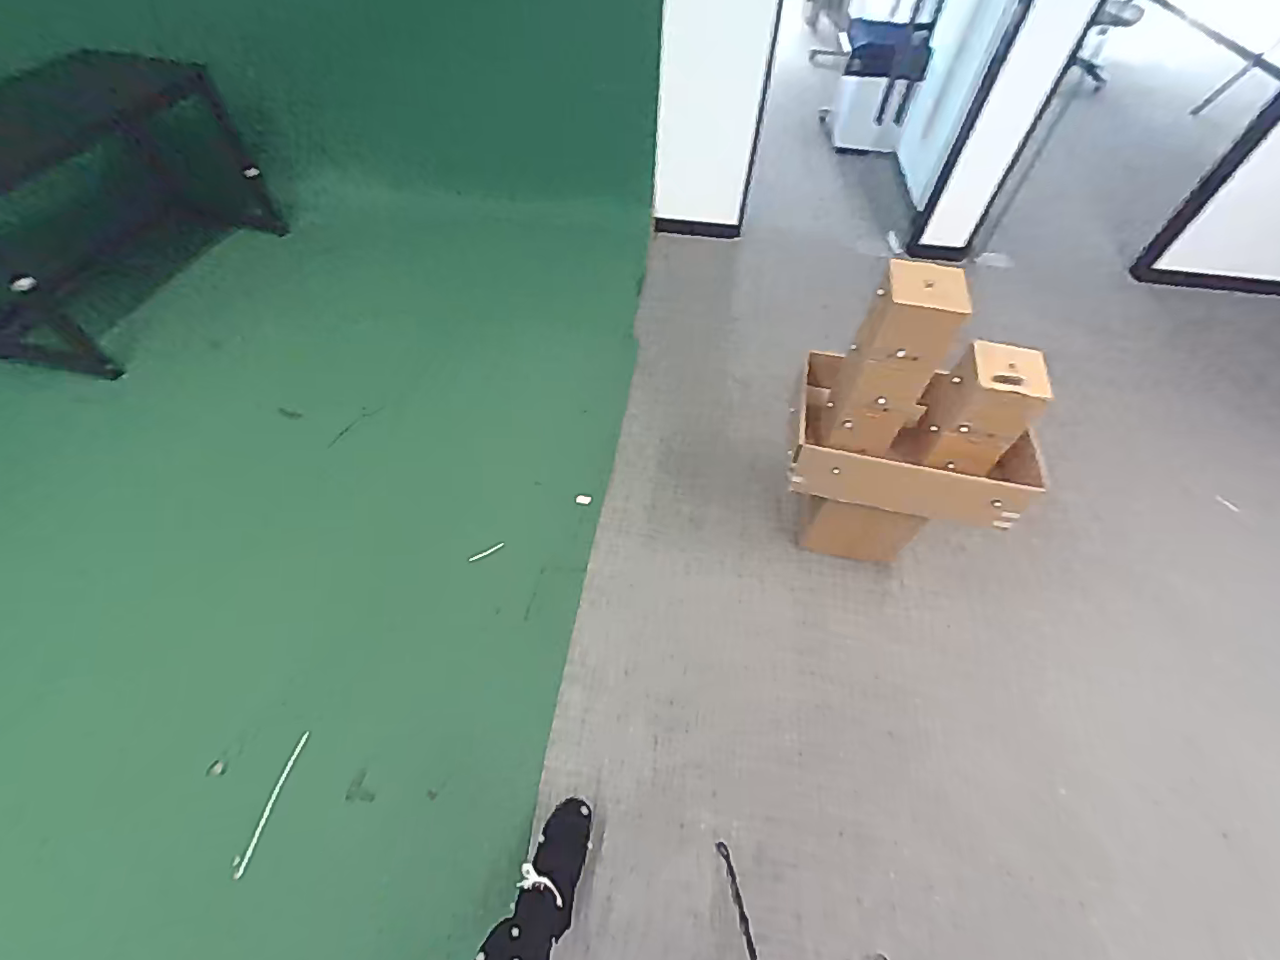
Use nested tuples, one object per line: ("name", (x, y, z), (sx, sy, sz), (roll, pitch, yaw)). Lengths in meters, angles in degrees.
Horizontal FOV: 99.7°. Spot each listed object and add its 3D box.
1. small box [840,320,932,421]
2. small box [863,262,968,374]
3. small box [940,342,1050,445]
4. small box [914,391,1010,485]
("small box", (0.625, -0.281, 1.395), (0.168, 0.176, 0.179), (11, 53, 6))
("small box", (0.632, -0.379, 1.265), (0.168, 0.176, 0.179), (11, 53, 7))
("small box", (0.879, -0.213, 1.357), (0.168, 0.176, 0.179), (13, 54, 7))
("small box", (0.873, -0.114, 1.488), (0.168, 0.176, 0.179), (12, 54, 7))
